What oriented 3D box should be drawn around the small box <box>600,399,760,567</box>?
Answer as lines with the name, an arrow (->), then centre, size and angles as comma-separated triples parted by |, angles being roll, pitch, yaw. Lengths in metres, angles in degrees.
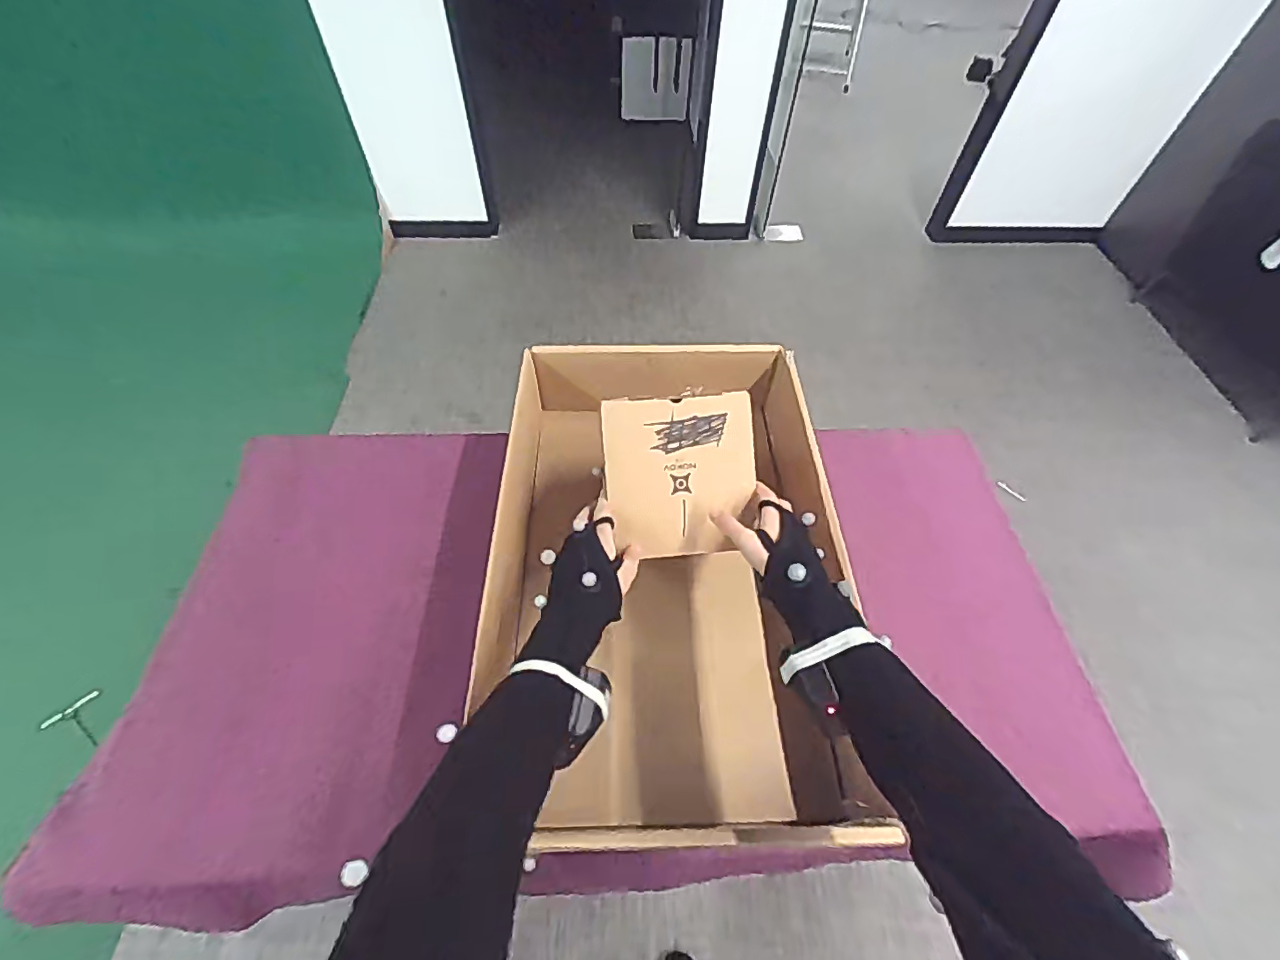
small box -> 0.039, 0.002, 0.664 | 0.168, 0.176, 0.179 | -4, 92, -4
